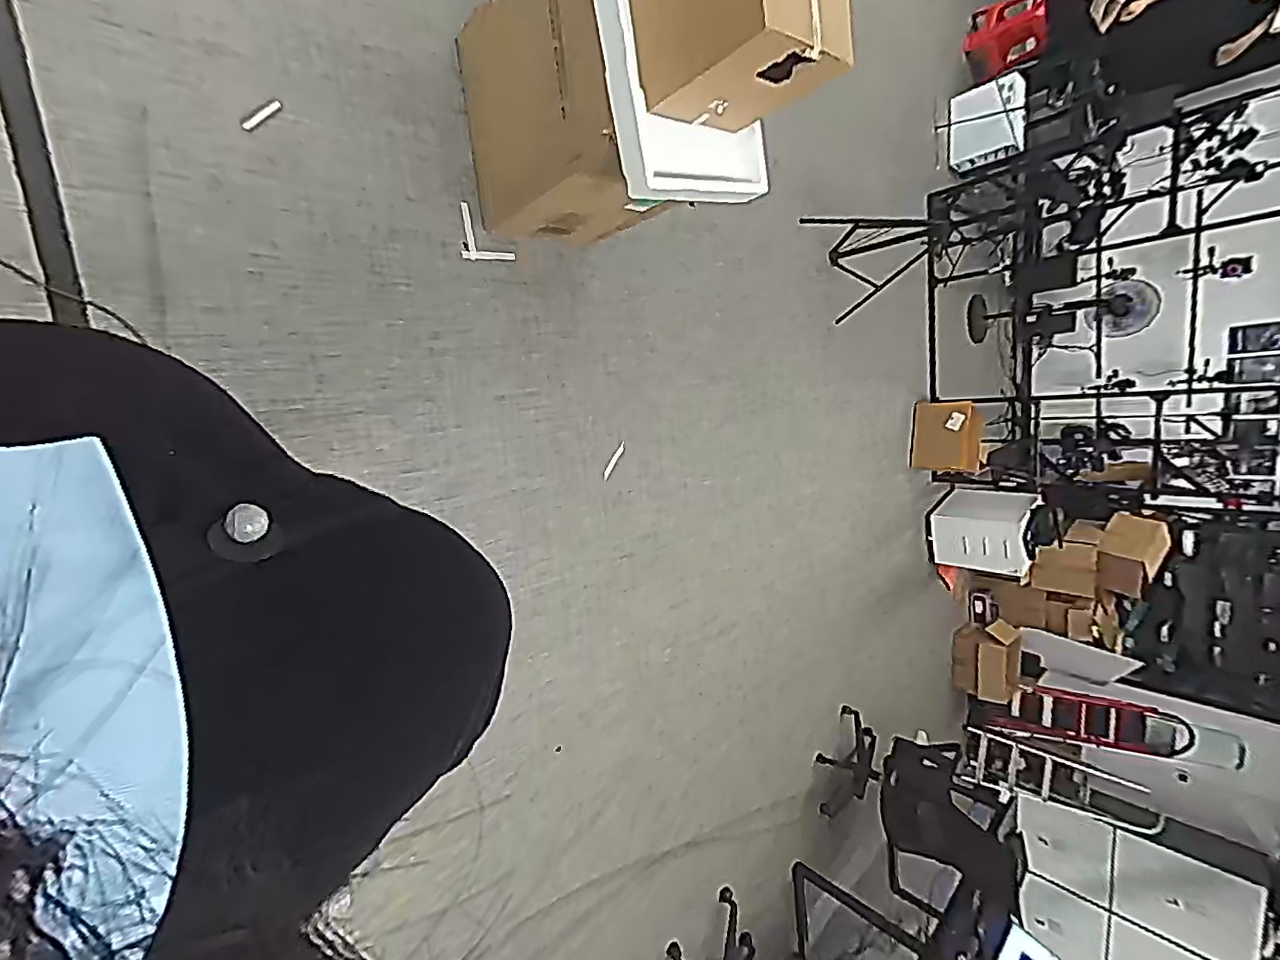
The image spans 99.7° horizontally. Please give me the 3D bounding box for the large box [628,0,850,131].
[{"bbox_3d":[0.184,-0.996,1.083,0.320,0.320,0.408,-20,105,-40],"label":"large box"}]
